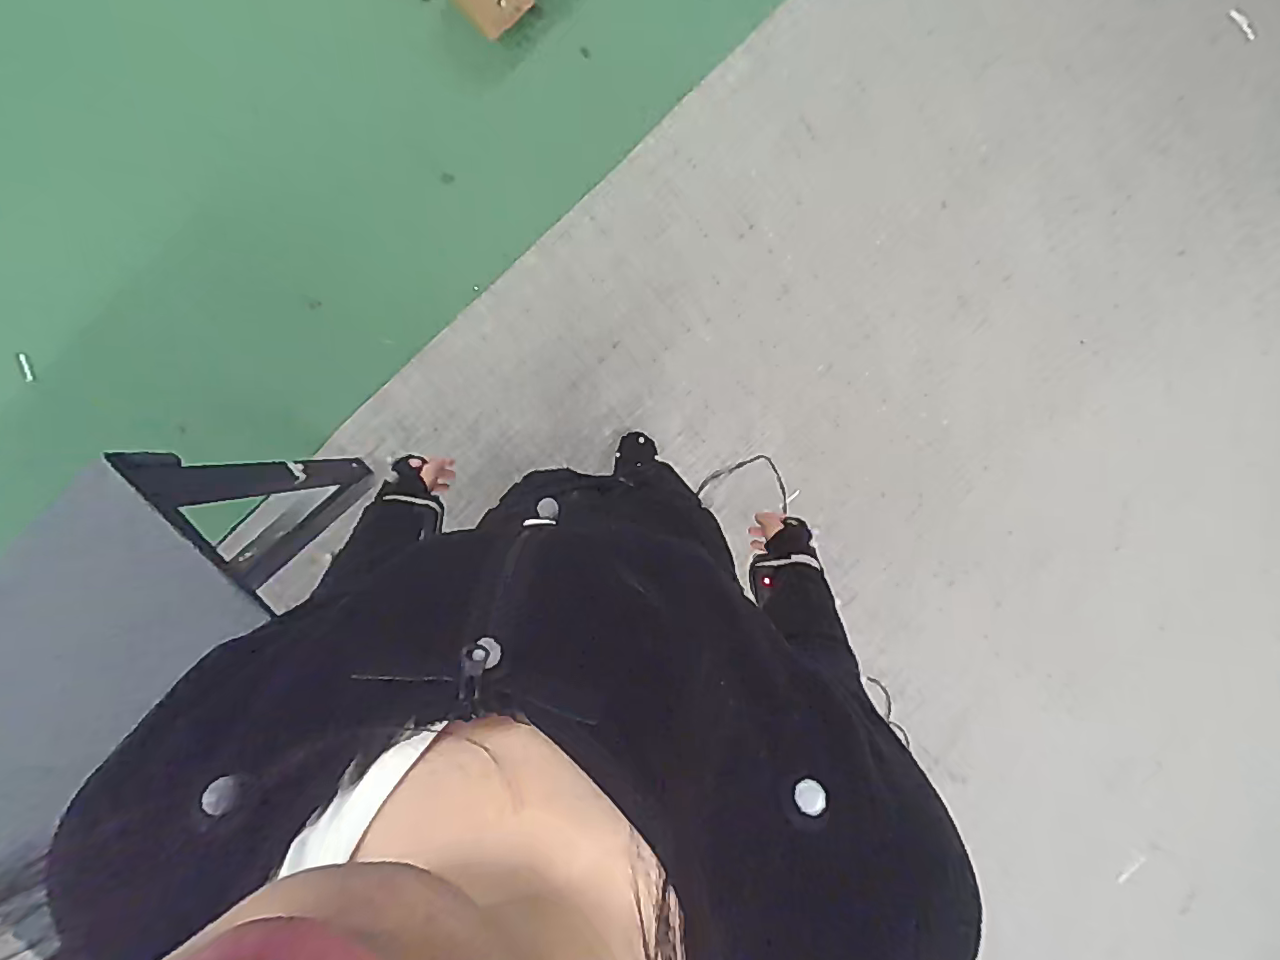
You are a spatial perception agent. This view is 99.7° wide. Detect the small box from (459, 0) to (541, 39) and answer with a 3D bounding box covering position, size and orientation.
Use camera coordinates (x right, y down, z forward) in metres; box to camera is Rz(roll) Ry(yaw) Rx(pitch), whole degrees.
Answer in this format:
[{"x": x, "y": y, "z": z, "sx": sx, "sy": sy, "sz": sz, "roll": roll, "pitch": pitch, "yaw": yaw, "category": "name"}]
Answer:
[{"x": -0.372, "y": -1.267, "z": 1.356, "sx": 0.168, "sy": 0.176, "sz": 0.179, "roll": -42, "pitch": 92, "yaw": 3, "category": "small box"}]
